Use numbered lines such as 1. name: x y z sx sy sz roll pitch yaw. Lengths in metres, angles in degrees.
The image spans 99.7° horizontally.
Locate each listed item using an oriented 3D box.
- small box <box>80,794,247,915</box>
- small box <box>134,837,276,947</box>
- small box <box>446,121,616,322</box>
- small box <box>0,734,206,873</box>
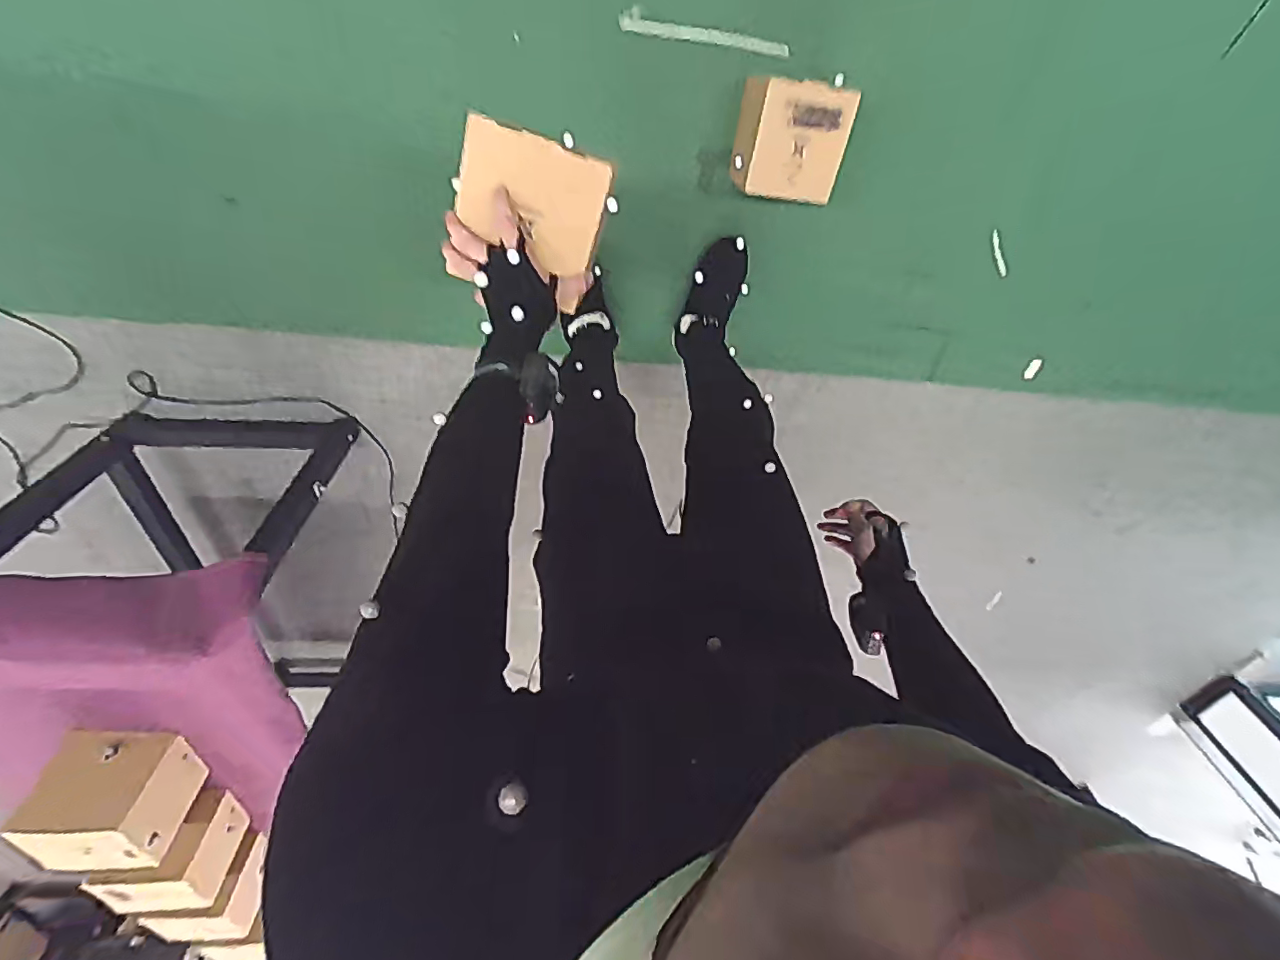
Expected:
1. small box: -0.967 0.770 1.118 0.179 0.176 0.168 4 127 -8
2. small box: -0.998 0.956 1.259 0.179 0.176 0.168 3 127 -6
3. small box: -0.132 -0.333 0.704 0.168 0.176 0.179 17 118 -8
4. small box: -0.942 0.576 0.970 0.179 0.176 0.168 5 128 -7
